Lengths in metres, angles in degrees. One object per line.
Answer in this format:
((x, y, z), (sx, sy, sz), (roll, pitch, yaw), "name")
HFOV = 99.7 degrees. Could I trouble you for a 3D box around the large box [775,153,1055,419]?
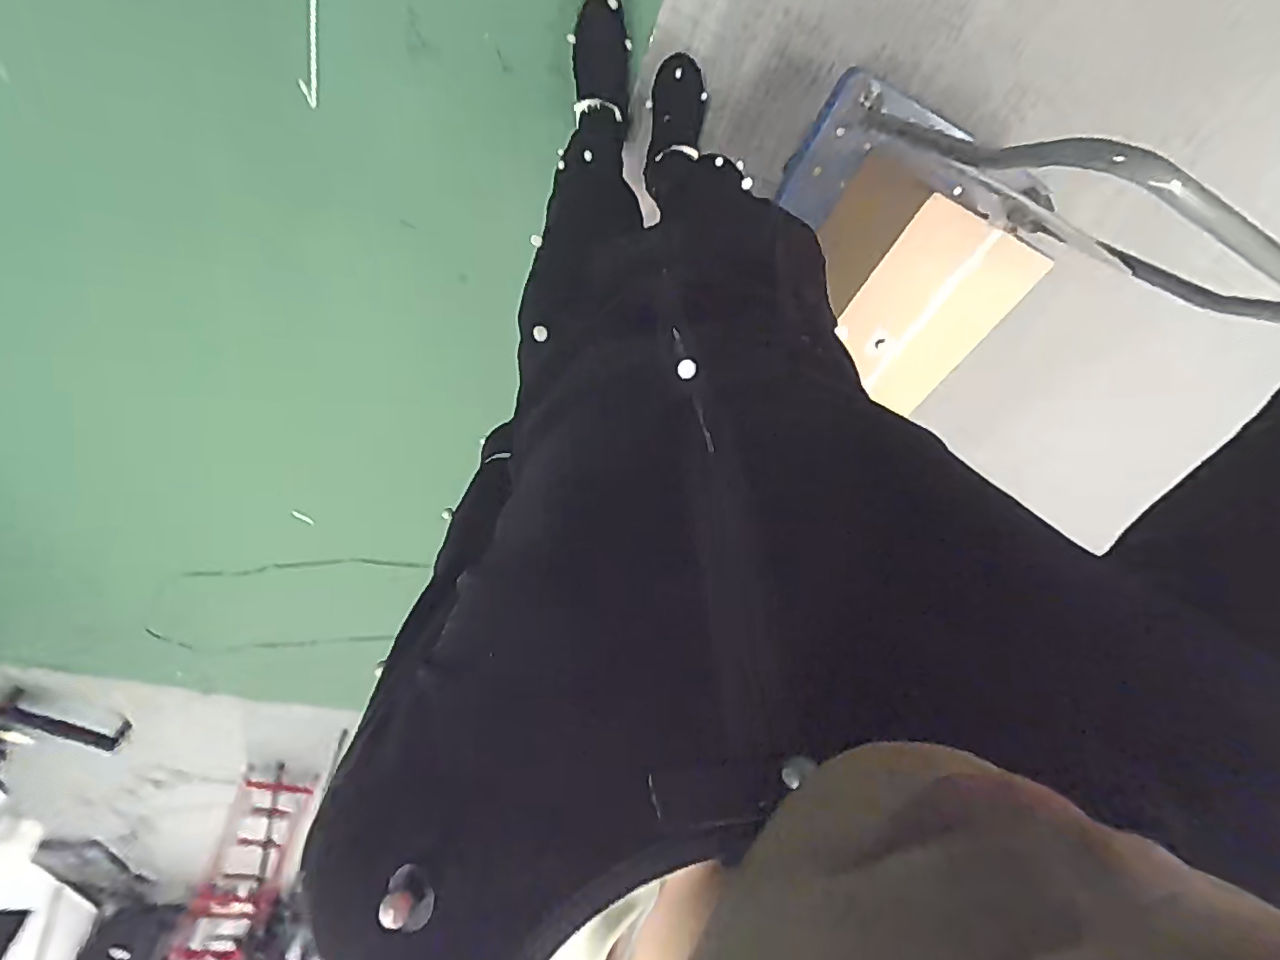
((0.561, -0.418, 1.194), (0.320, 0.320, 0.408), (18, 131, -18), "large box")
